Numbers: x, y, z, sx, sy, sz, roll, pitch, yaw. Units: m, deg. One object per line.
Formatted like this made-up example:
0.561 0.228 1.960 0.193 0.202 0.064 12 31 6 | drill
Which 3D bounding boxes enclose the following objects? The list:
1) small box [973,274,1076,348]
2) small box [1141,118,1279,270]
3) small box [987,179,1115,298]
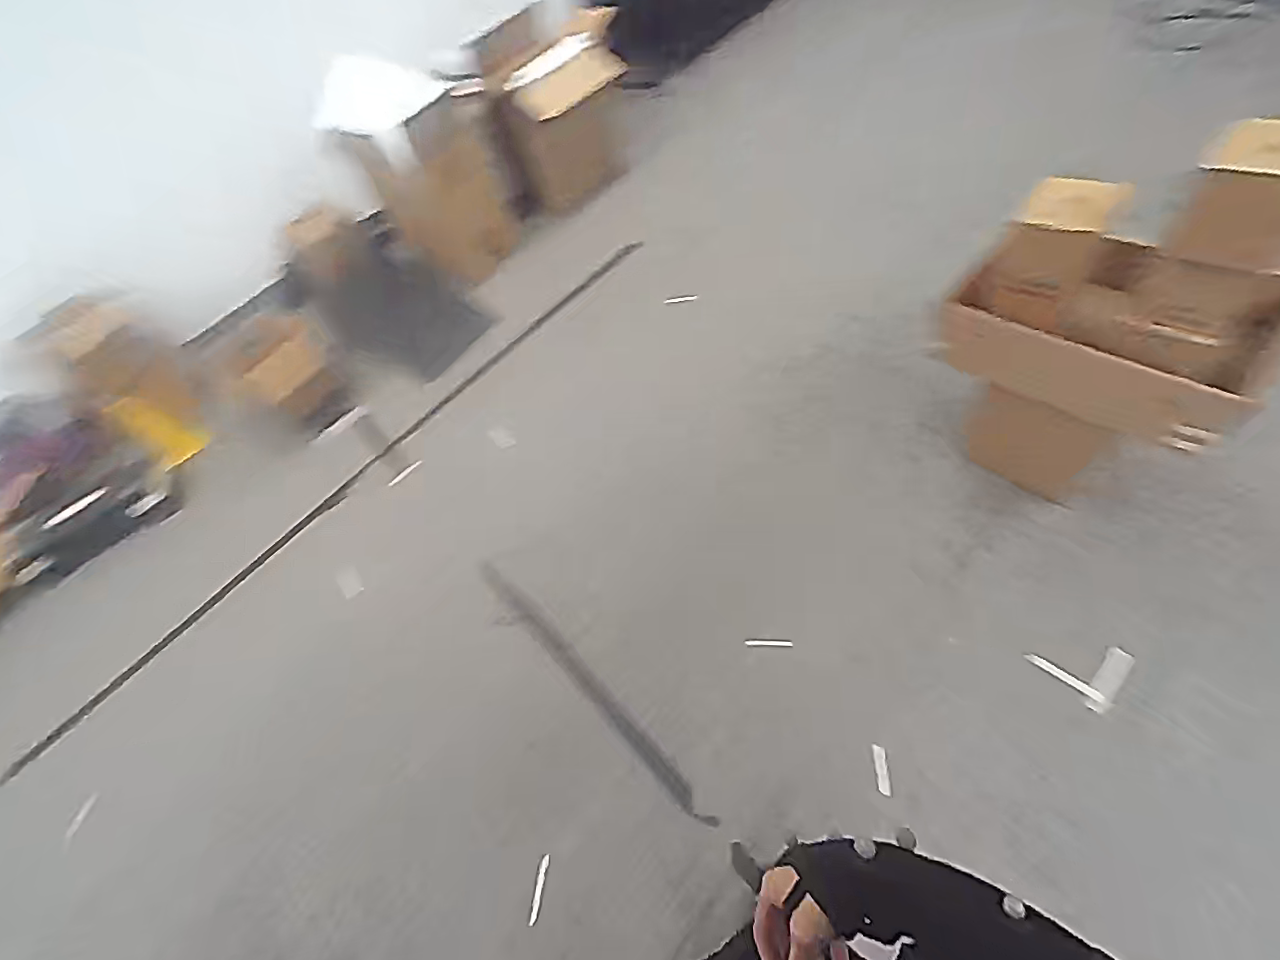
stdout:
0.974 -0.469 1.370 0.168 0.176 0.179 26 68 31 | small box
1.052 -0.498 0.951 0.179 0.176 0.168 32 70 33 | small box
0.927 -0.551 1.235 0.168 0.176 0.179 27 69 31 | small box
